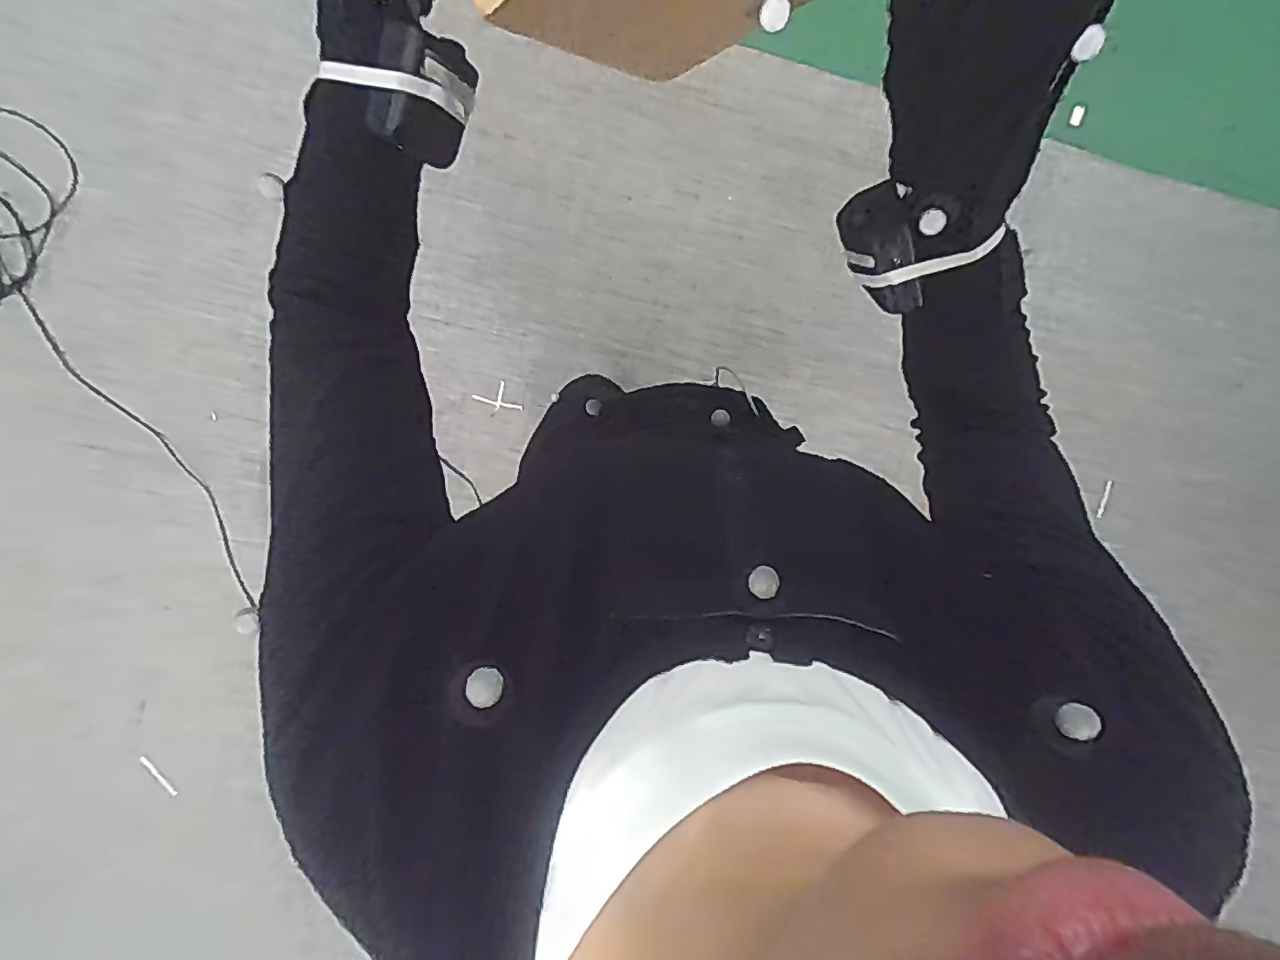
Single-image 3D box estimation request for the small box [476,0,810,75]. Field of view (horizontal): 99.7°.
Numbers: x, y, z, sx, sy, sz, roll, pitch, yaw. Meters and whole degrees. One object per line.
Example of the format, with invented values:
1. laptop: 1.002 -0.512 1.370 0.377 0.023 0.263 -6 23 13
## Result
1. small box: 0.021 -0.311 0.225 0.179 0.176 0.168 -5 110 34
